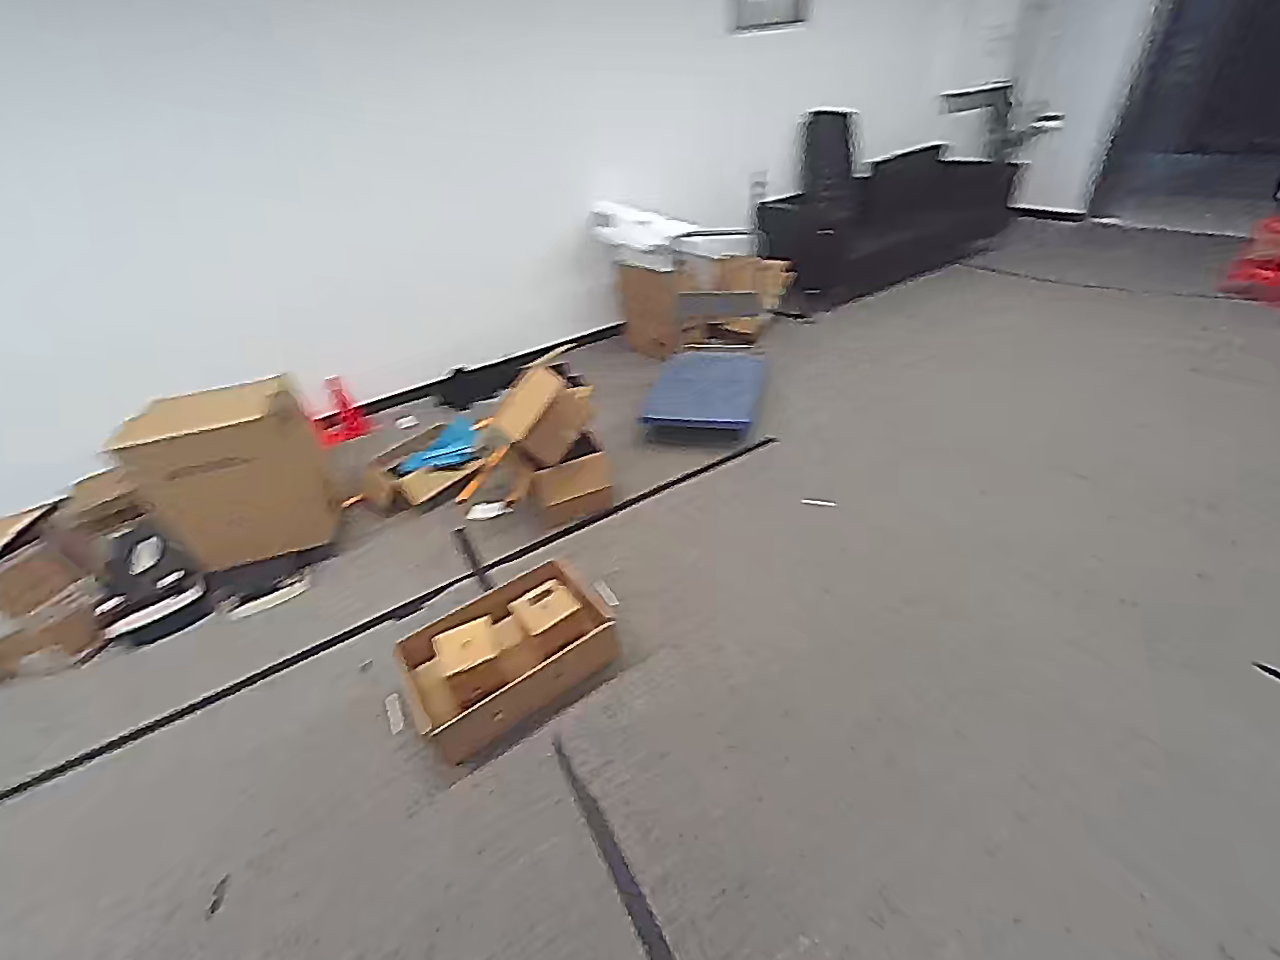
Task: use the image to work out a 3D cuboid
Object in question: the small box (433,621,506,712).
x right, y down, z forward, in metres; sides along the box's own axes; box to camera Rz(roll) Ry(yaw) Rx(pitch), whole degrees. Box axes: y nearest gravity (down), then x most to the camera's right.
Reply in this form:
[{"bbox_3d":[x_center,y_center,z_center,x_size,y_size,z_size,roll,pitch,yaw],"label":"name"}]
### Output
[{"bbox_3d":[-0.535,0.586,1.700,0.168,0.176,0.179,-20,37,-18],"label":"small box"}]
